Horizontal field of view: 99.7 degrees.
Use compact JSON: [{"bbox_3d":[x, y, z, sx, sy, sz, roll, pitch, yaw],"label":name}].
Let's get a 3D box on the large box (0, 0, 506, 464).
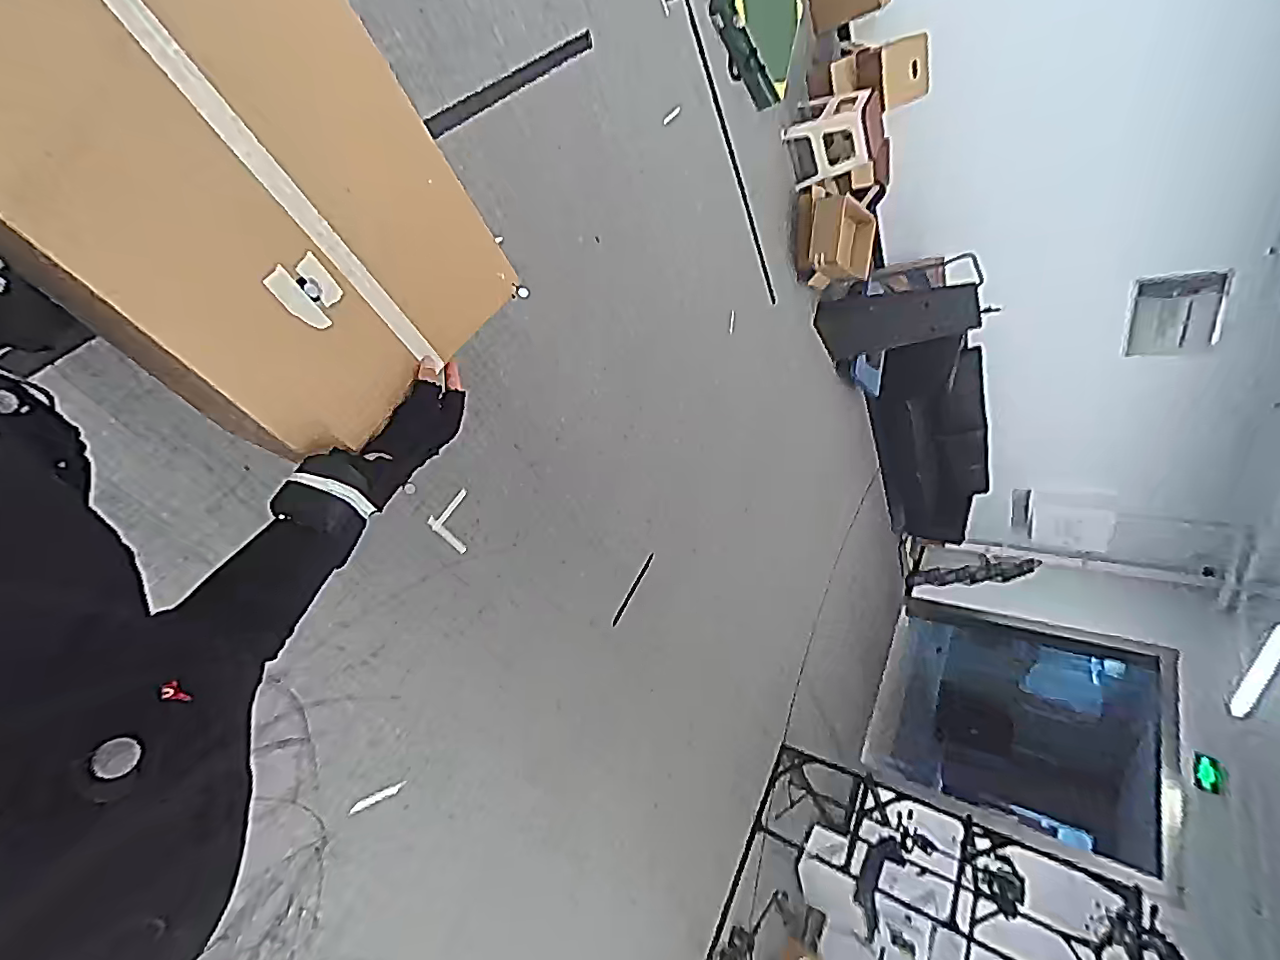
[{"bbox_3d":[-0.429,-0.277,0.550,0.320,0.320,0.408,-57,140,-23],"label":"large box"}]
